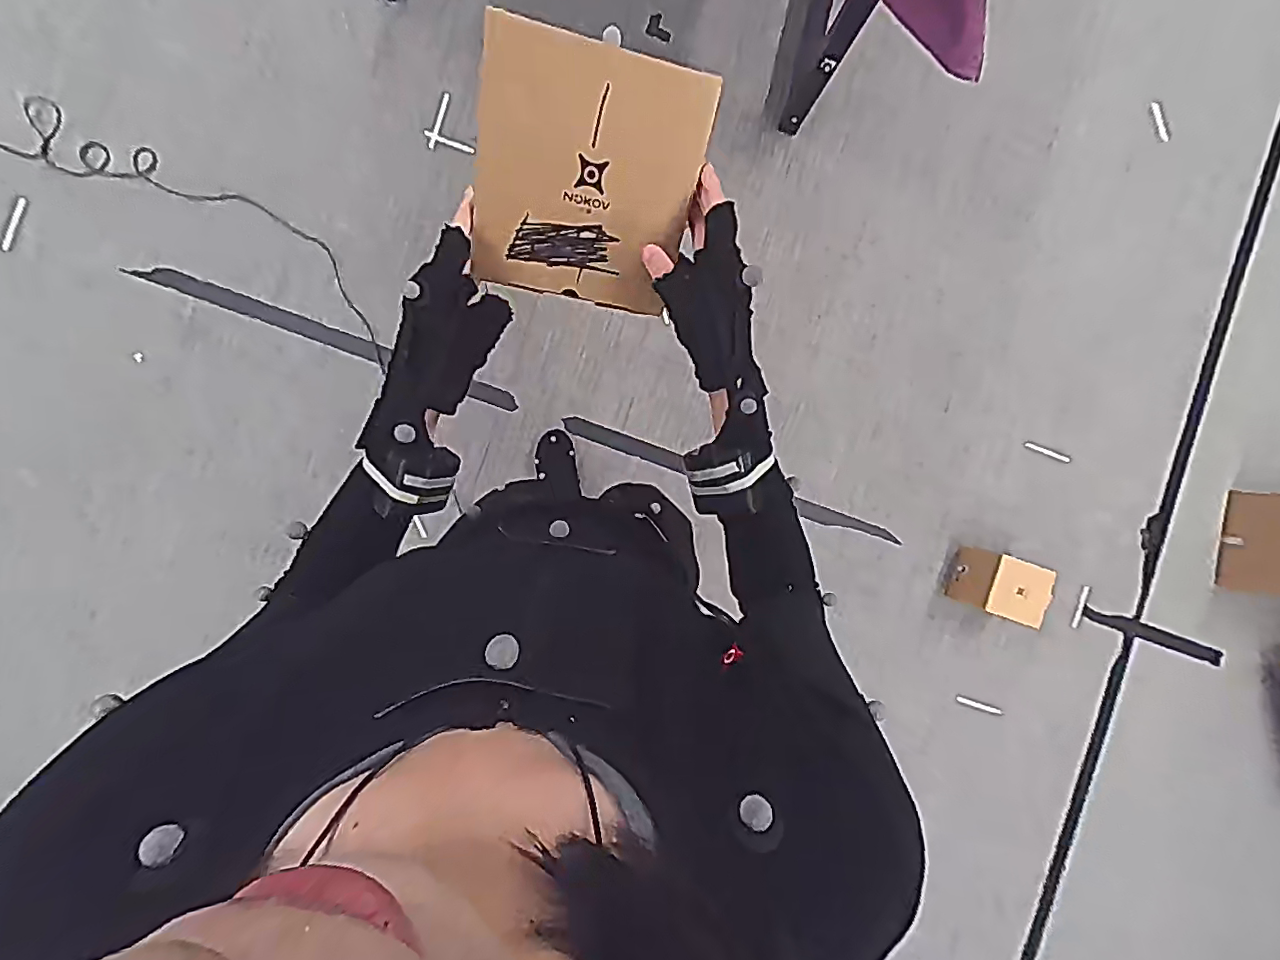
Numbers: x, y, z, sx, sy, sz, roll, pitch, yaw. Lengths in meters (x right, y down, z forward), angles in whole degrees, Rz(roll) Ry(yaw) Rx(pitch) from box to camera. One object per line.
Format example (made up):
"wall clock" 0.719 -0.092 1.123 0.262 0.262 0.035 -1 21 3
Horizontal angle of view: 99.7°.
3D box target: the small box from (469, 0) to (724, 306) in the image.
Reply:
"small box" -0.046 -0.278 0.471 0.168 0.176 0.179 8 124 -13

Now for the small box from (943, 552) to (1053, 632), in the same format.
"small box" 1.025 0.315 1.560 0.179 0.176 0.168 19 87 -5
